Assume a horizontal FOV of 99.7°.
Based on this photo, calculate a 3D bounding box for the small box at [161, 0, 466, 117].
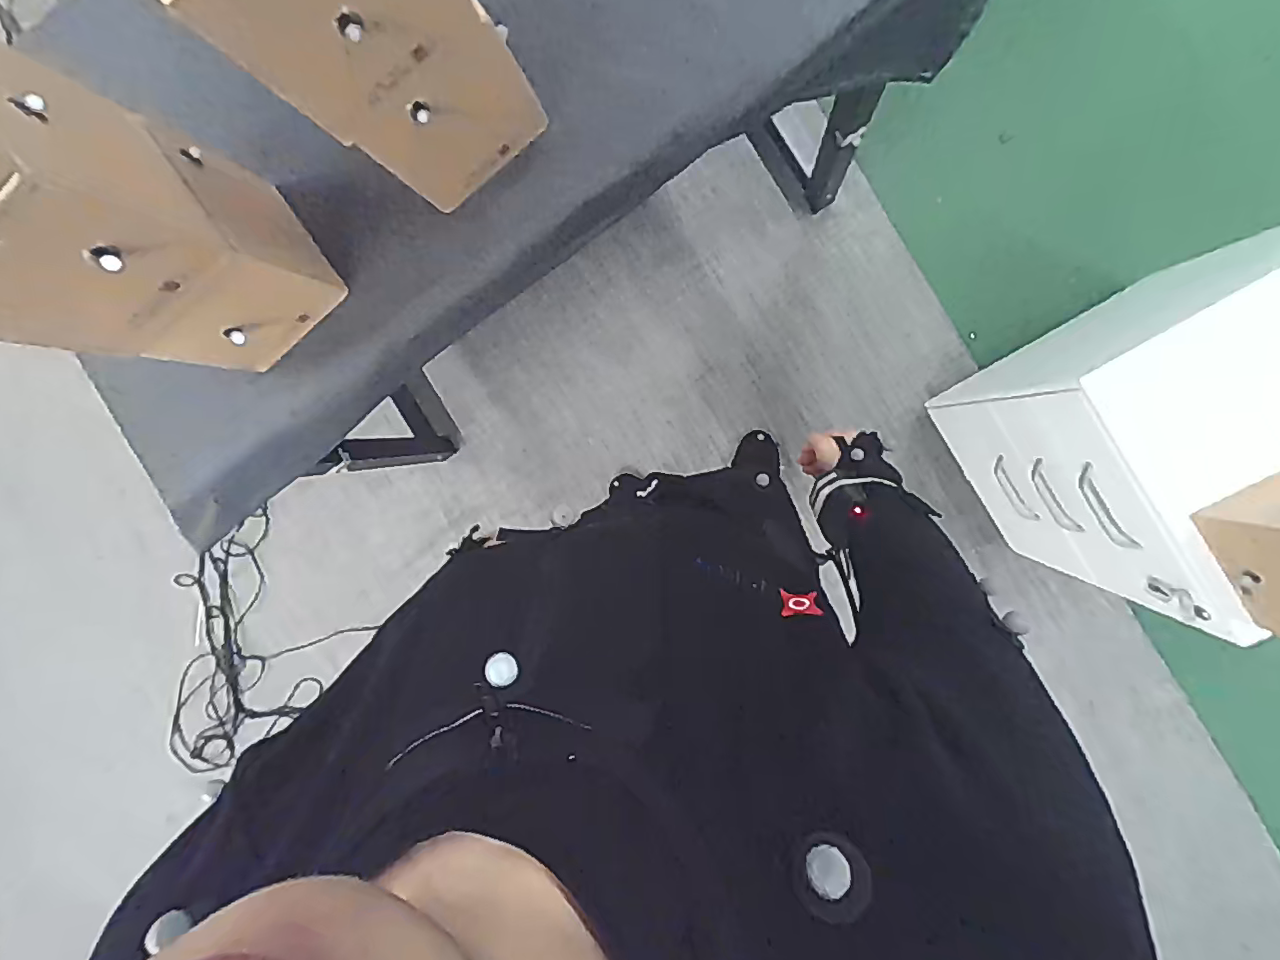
[{"bbox_3d":[-0.263,-0.413,0.396,0.168,0.176,0.179,-35,89,9],"label":"small box"}]

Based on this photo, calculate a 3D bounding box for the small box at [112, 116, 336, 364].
[{"bbox_3d":[-0.498,-0.248,0.616,0.168,0.176,0.179,-36,89,8],"label":"small box"}]

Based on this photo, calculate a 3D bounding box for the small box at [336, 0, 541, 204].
[{"bbox_3d":[-0.234,-0.433,0.559,0.168,0.176,0.179,-35,88,10],"label":"small box"}]

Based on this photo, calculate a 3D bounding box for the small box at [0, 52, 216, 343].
[{"bbox_3d":[-0.521,-0.234,0.454,0.168,0.176,0.179,-38,87,8],"label":"small box"}]
